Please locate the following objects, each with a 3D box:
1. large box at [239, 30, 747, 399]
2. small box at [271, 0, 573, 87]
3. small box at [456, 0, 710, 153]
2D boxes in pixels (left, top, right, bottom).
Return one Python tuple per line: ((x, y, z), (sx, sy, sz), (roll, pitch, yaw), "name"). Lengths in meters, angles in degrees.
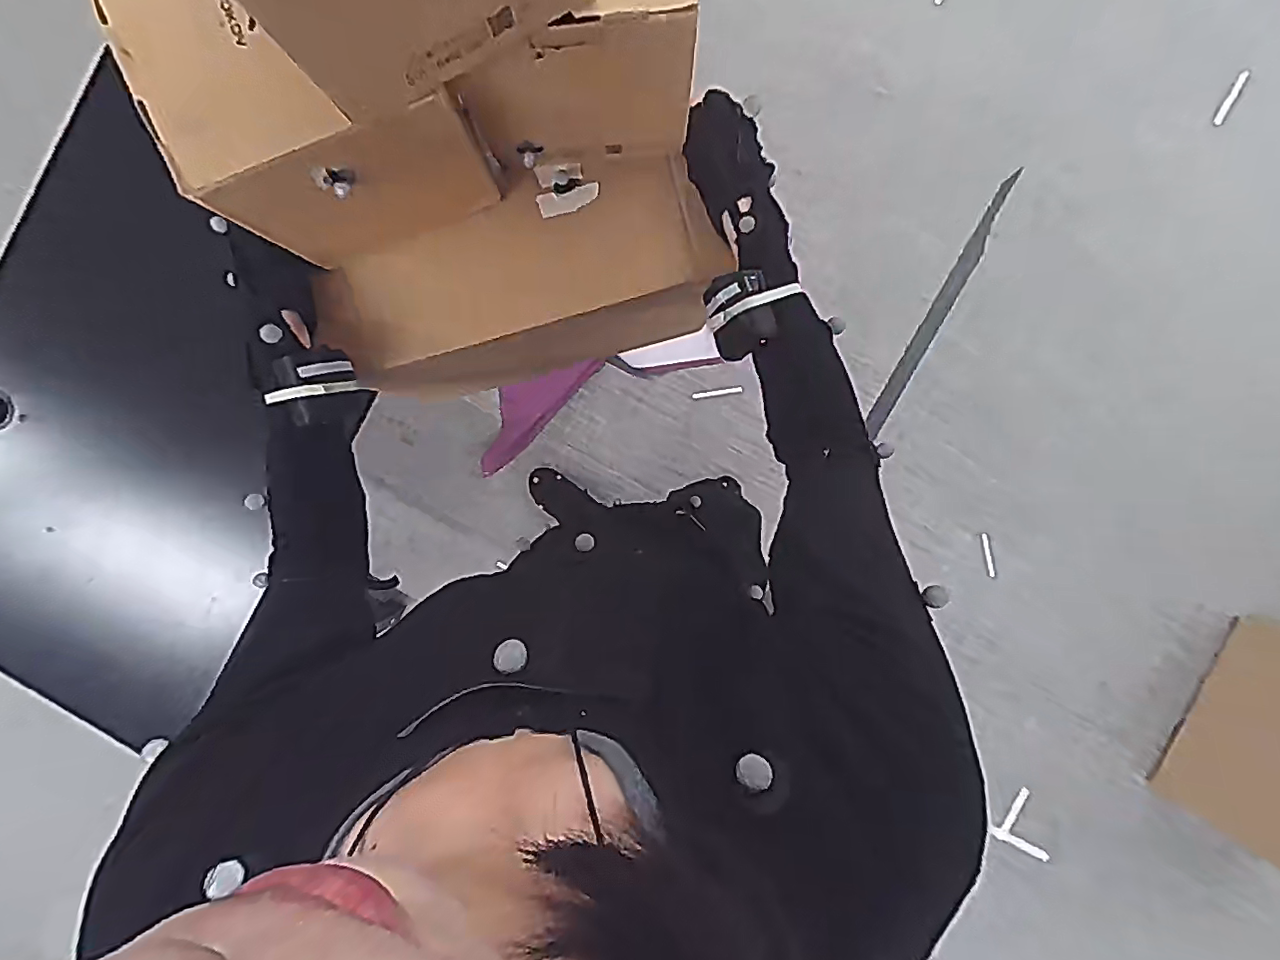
((-0.133, -0.307, 0.641), (0.408, 0.320, 0.320), (-16, 96, 1), "large box")
((-0.126, -0.318, 0.231), (0.168, 0.176, 0.179), (-27, 95, 3), "small box")
((-0.040, -0.363, 0.390), (0.168, 0.176, 0.179), (-3, 94, 1), "small box")
